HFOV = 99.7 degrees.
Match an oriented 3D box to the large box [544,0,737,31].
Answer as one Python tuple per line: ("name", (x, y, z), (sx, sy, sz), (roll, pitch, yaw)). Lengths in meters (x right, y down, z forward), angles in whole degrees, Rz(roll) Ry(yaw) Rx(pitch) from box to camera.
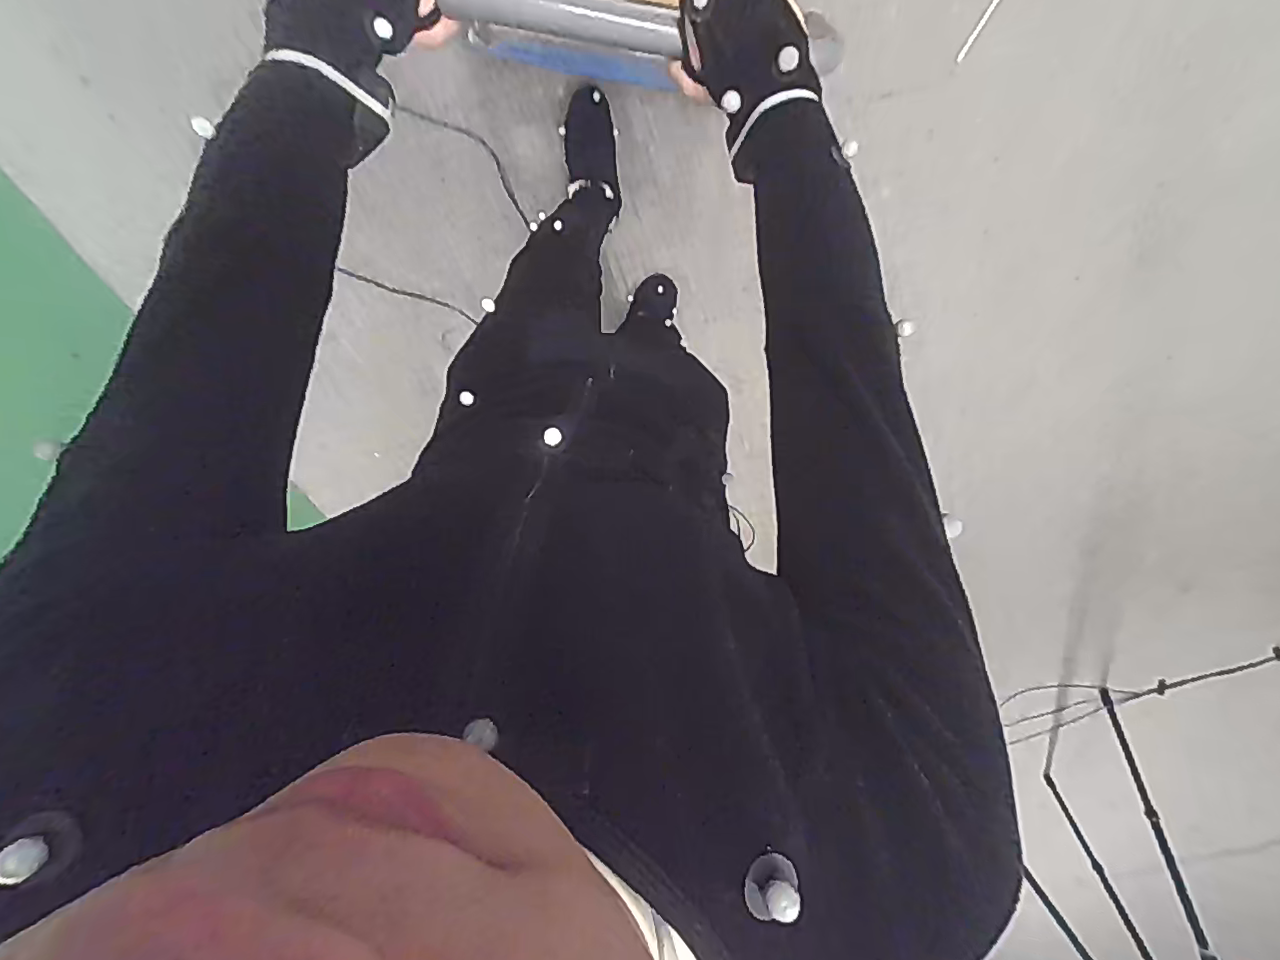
("large box", (0.006, -0.904, 0.740), (0.320, 0.320, 0.408), (7, 126, -5))
